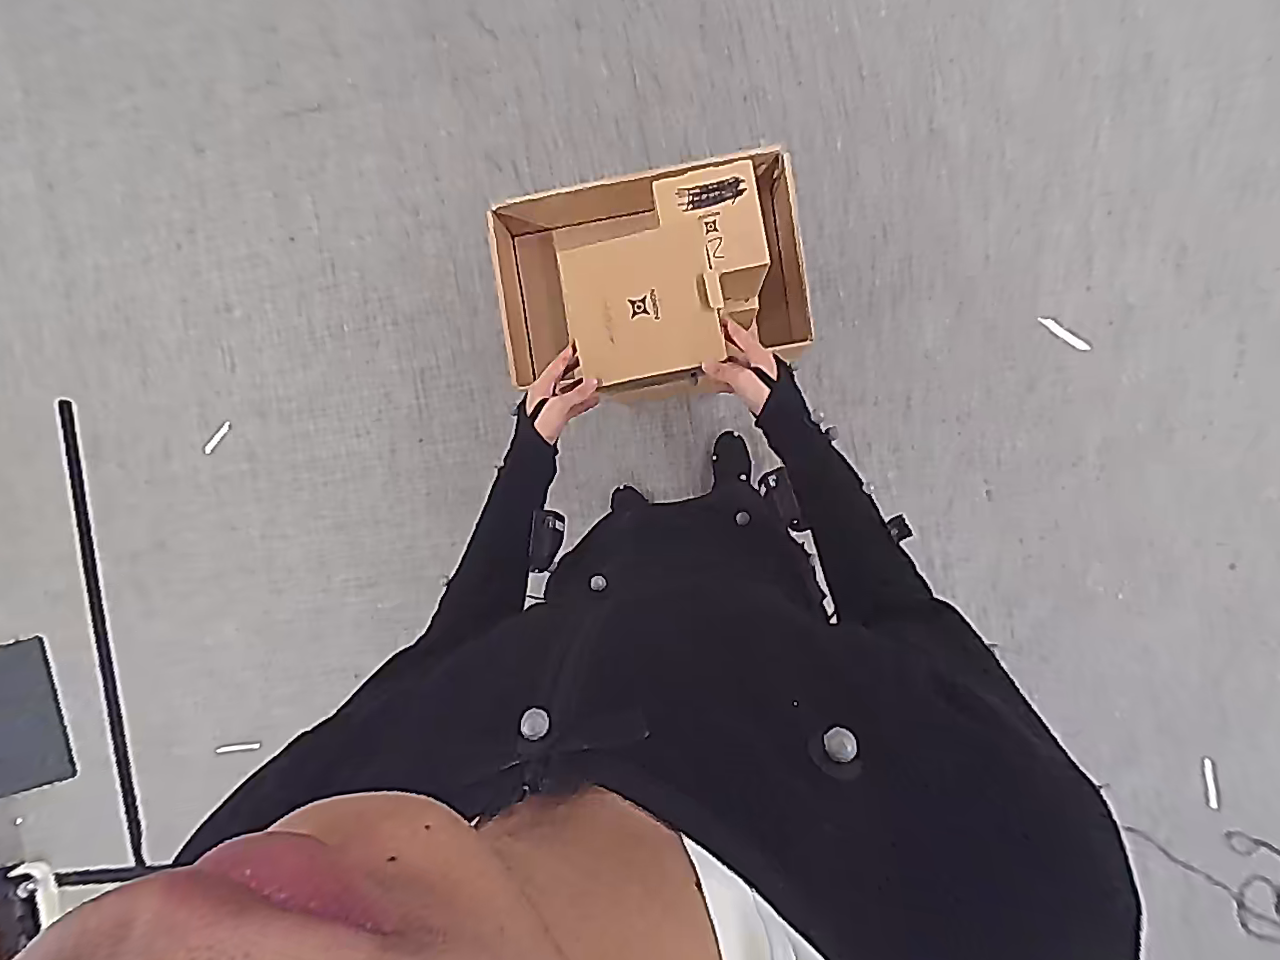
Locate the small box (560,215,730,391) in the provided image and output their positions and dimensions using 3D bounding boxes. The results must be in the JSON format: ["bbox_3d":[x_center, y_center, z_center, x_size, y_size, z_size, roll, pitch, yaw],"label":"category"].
[{"bbox_3d":[0.012,-0.215,0.703,0.179,0.176,0.168,-11,95,7],"label":"small box"}]
